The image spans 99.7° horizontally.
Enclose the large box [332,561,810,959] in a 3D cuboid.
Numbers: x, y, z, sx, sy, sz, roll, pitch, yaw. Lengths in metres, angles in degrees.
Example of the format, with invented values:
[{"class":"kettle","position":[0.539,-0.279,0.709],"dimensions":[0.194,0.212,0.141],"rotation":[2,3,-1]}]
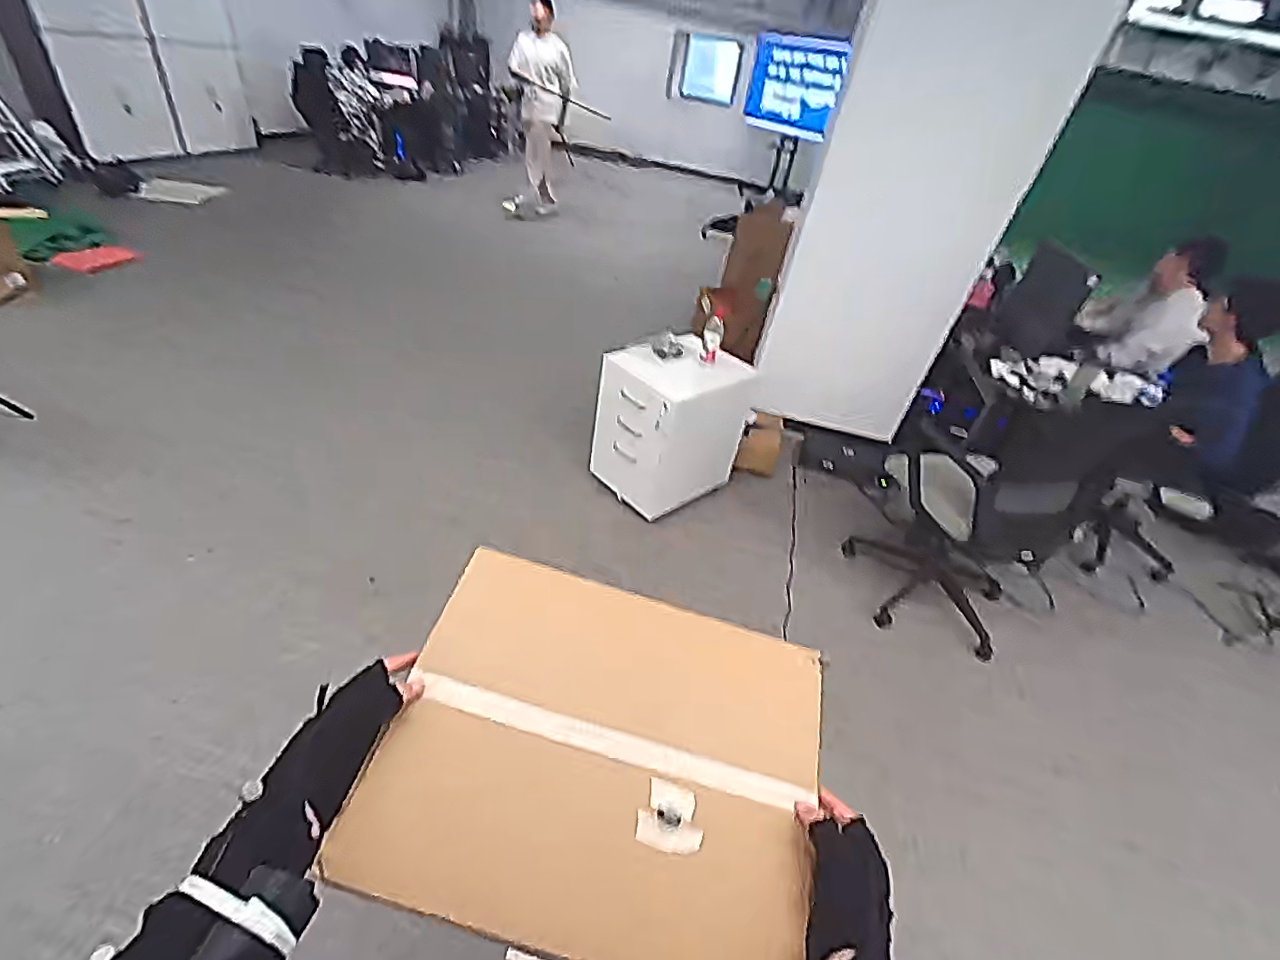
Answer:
[{"class":"large box","position":[-0.056,0.350,0.642],"dimensions":[0.408,0.320,0.320],"rotation":[17,51,1]}]
